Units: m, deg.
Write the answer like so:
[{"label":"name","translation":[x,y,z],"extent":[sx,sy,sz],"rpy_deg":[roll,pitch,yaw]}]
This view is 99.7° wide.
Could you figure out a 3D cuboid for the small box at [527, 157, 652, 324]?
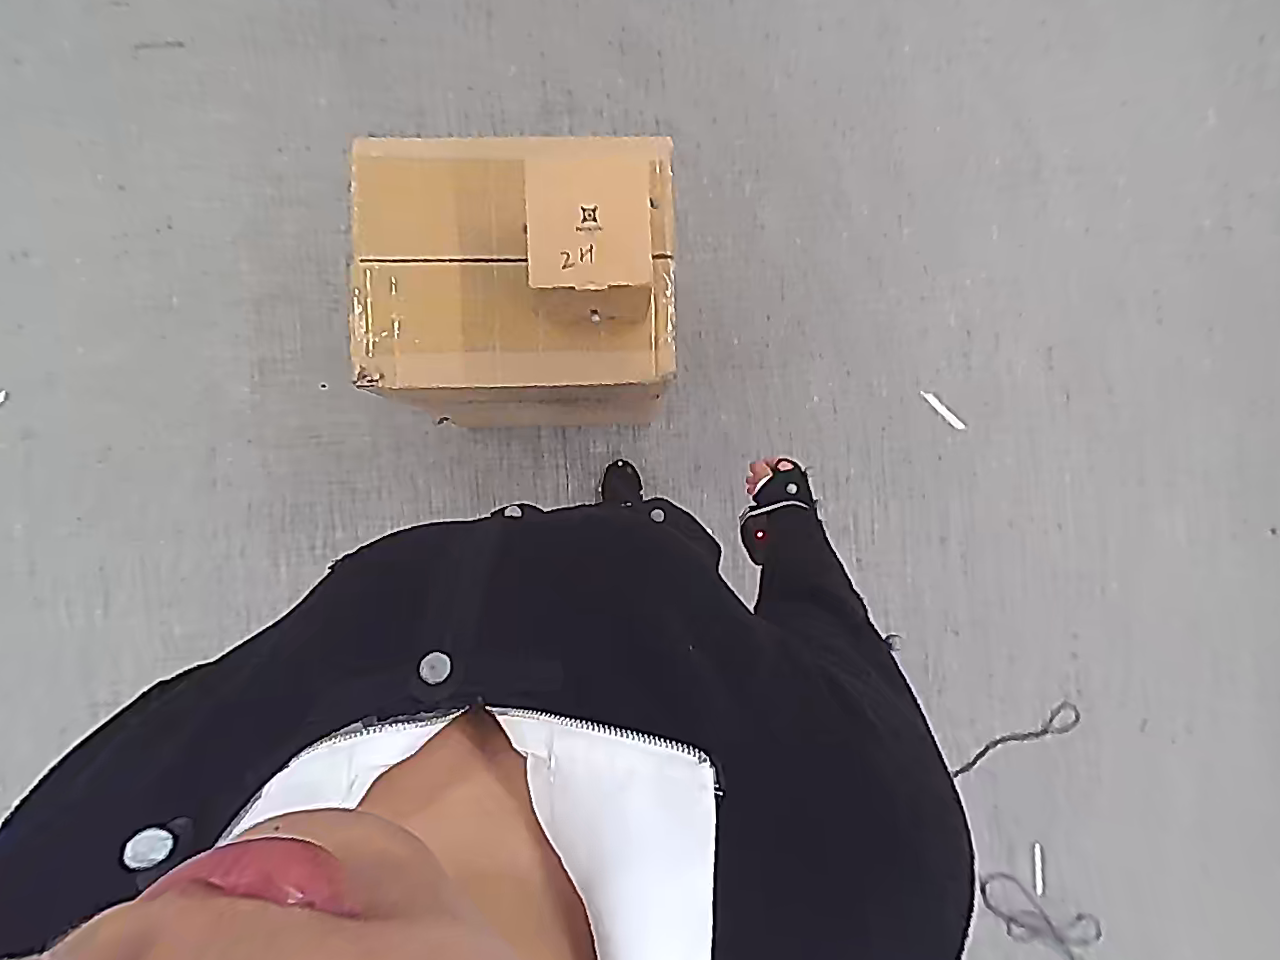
[{"label":"small box","translation":[-0.070,-0.342,0.799],"extent":[0.168,0.176,0.179],"rpy_deg":[-2,91,-1]}]
